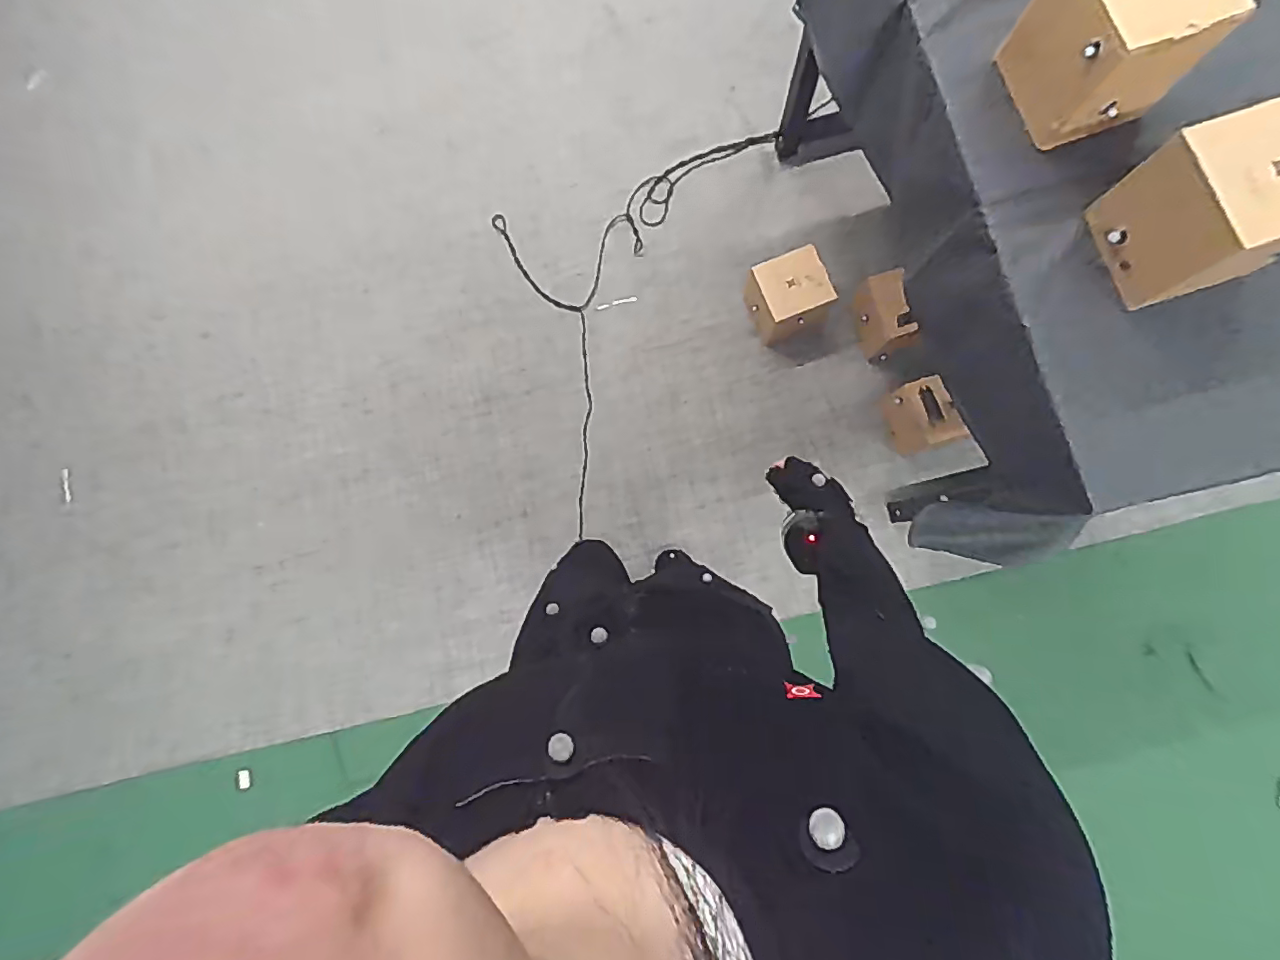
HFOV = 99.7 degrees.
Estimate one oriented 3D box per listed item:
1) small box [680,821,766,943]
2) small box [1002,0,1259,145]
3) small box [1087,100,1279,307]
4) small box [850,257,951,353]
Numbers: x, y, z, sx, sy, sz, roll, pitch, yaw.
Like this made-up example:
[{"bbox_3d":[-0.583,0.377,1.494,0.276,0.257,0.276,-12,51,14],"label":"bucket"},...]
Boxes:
[{"bbox_3d":[0.196,0.975,1.334,0.168,0.176,0.179,-15,82,2],"label":"small box"},{"bbox_3d":[0.646,-0.613,0.741,0.168,0.176,0.179,-19,83,1],"label":"small box"},{"bbox_3d":[0.754,-0.354,0.707,0.179,0.176,0.168,-17,82,2],"label":"small box"},{"bbox_3d":[0.691,-0.458,1.452,0.168,0.176,0.179,-16,82,1],"label":"small box"}]
